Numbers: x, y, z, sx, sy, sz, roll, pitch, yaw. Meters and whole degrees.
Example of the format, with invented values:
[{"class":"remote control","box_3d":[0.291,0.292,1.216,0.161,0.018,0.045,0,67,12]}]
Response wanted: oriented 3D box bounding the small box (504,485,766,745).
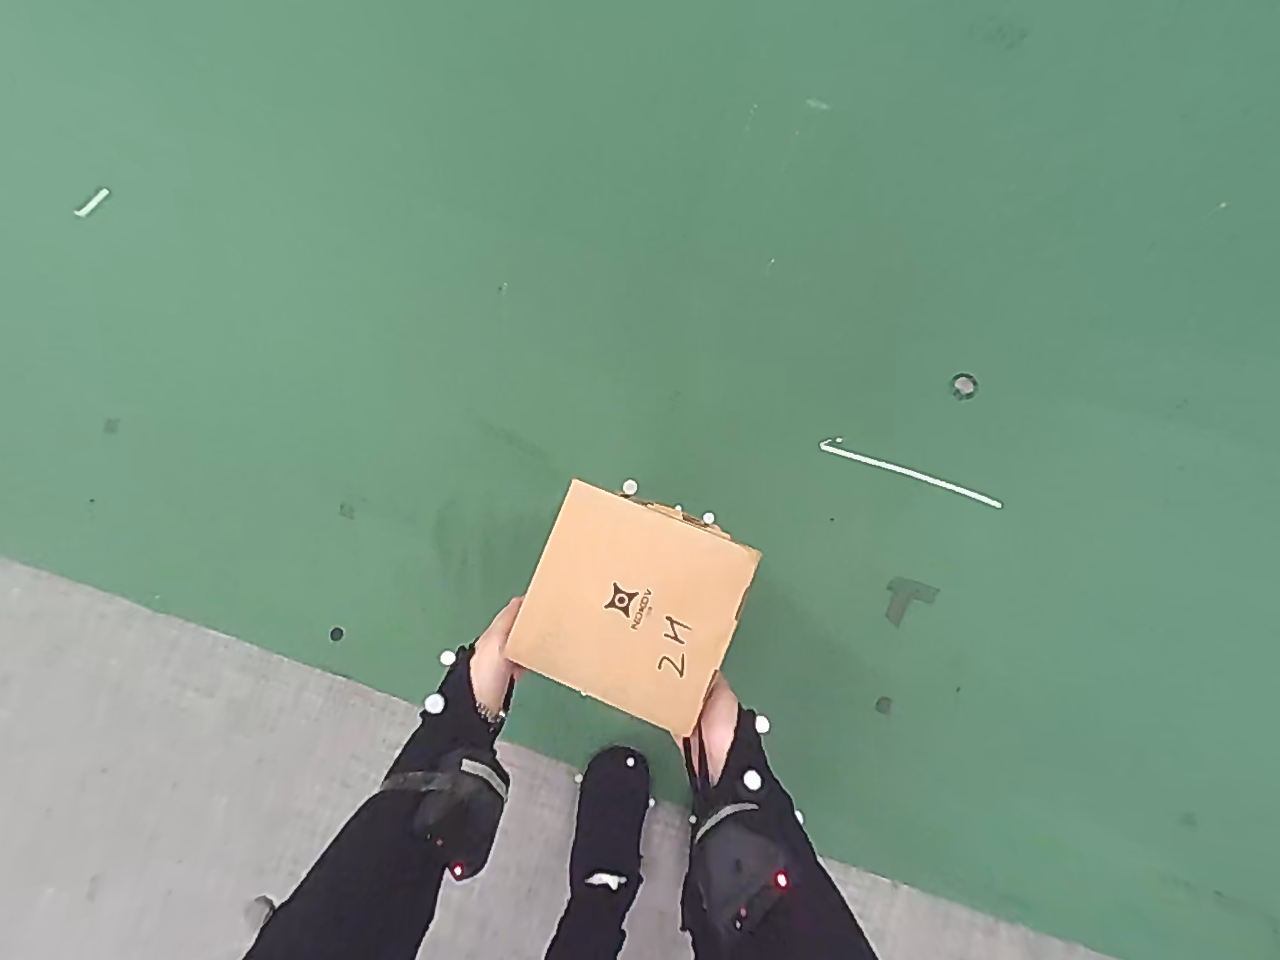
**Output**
[{"class":"small box","box_3d":[0.000,0.116,0.528,0.179,0.176,0.168,22,88,5]}]
